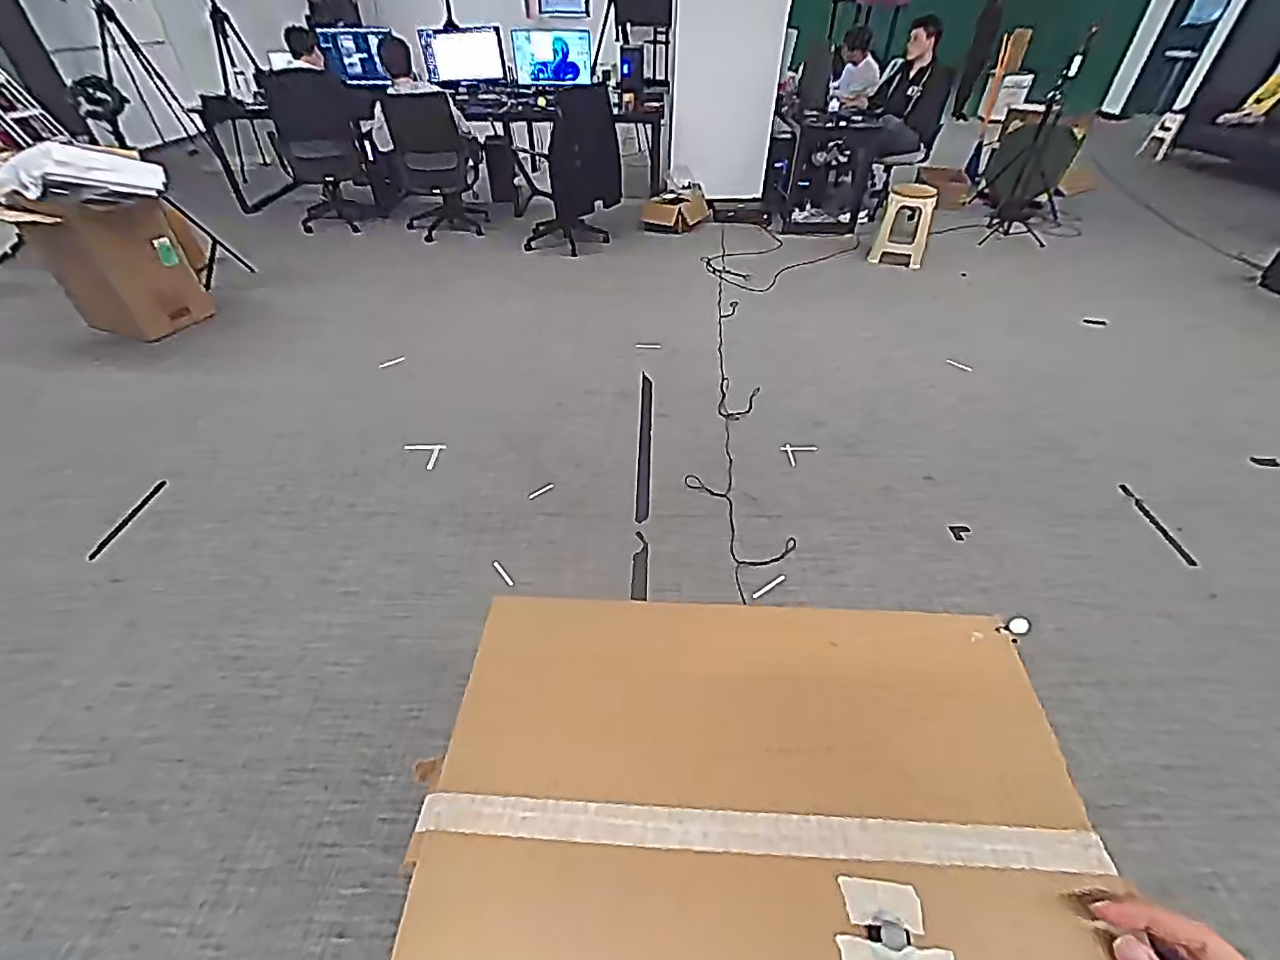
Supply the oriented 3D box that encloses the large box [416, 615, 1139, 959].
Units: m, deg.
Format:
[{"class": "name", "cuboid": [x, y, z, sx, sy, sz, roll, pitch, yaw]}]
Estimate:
[{"class": "large box", "cuboid": [0.076, 0.328, 0.441, 0.408, 0.320, 0.320, 2, 47, 3]}]
